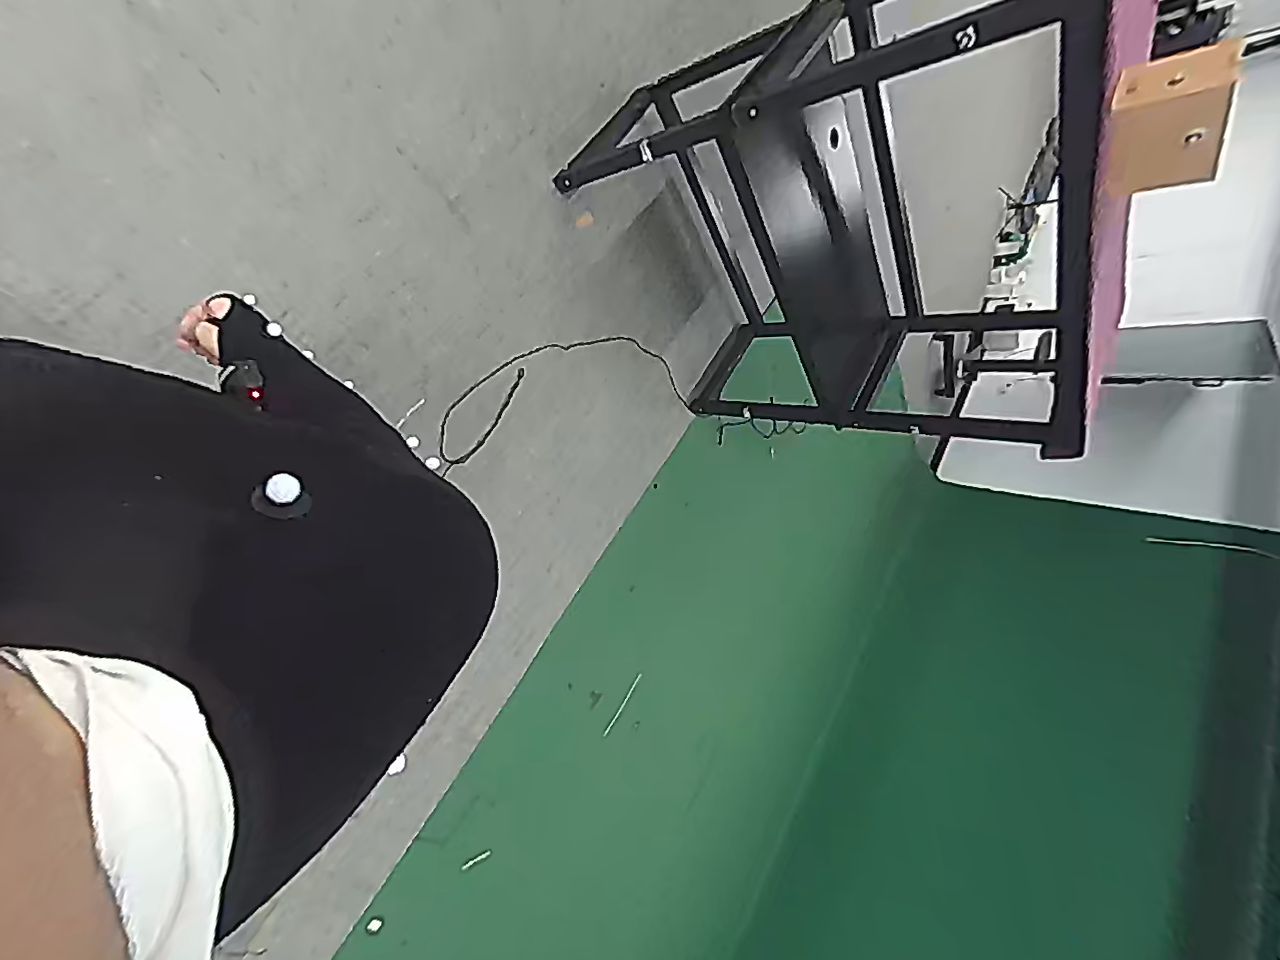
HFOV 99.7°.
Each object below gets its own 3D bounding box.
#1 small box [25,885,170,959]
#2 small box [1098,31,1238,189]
[{"bbox_3d":[-1.221,1.059,1.219,0.168,0.176,0.179,-56,132,-22],"label":"small box"},{"bbox_3d":[0.998,-0.695,1.033,0.168,0.176,0.179,-56,133,-23],"label":"small box"}]
